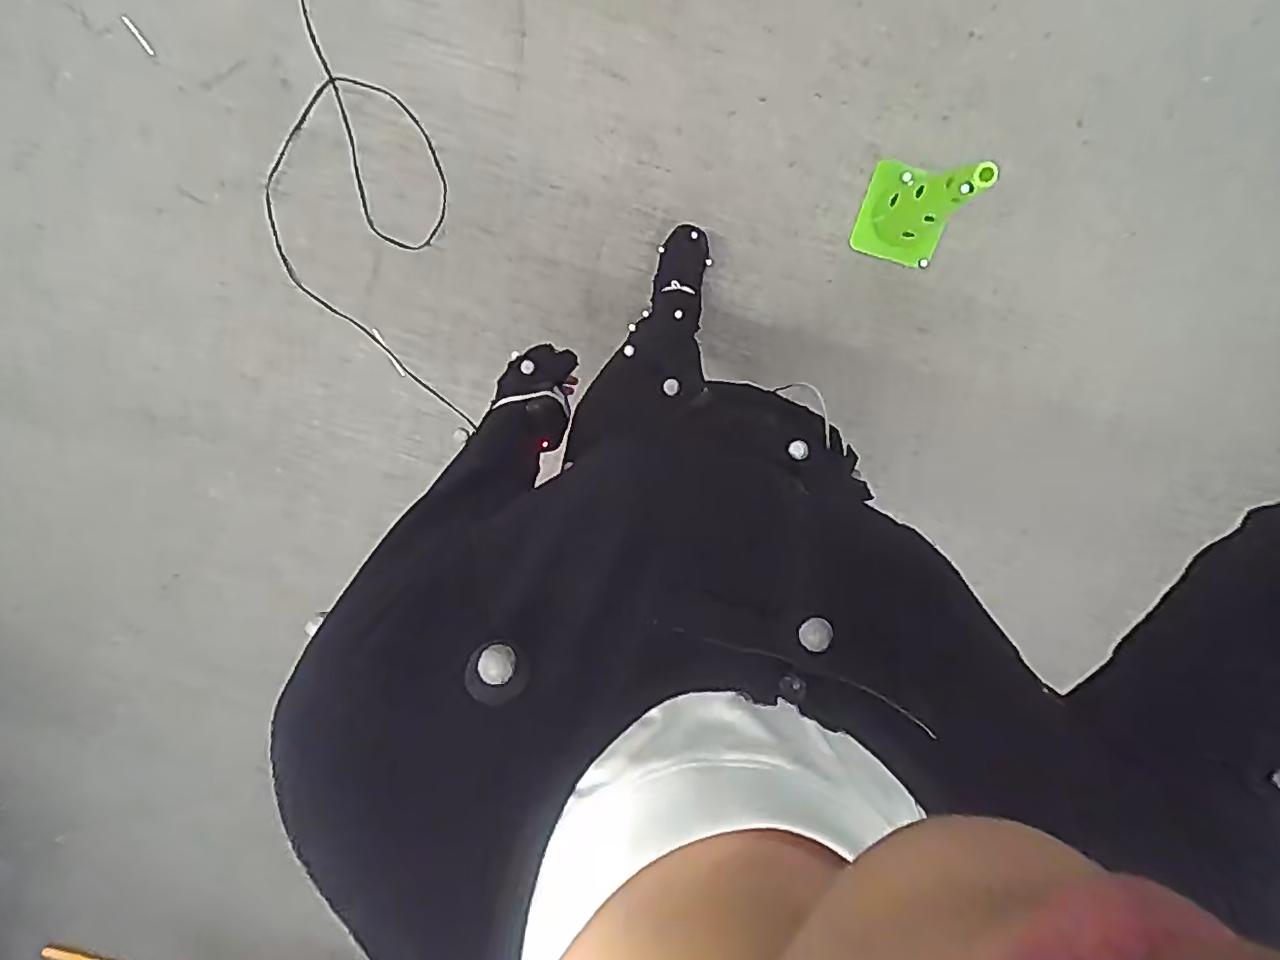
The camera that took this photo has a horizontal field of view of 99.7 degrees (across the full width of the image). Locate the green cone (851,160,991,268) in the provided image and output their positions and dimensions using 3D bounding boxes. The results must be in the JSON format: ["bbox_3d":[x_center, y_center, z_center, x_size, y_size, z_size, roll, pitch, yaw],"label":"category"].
[{"bbox_3d":[0.606,-0.578,1.103,0.202,0.368,0.200,16,105,0],"label":"green cone"}]
